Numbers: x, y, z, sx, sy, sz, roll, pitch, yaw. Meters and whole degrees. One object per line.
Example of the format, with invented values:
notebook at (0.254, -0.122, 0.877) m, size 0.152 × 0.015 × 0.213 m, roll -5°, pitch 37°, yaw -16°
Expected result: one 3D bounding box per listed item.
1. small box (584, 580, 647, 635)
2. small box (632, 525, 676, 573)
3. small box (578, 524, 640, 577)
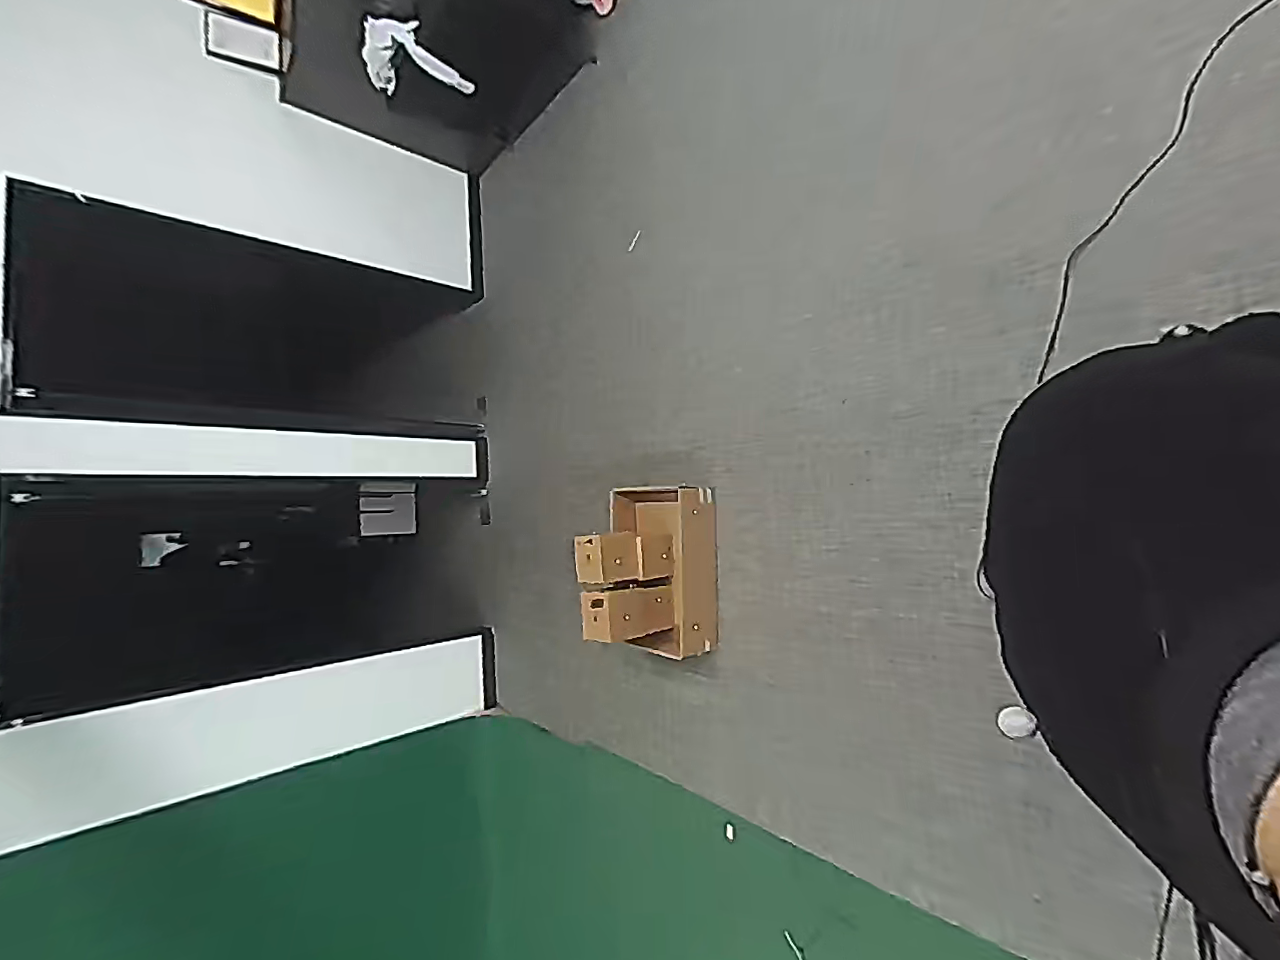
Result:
small box at (-0.088, 0.467, 2.009) m, size 0.168 × 0.176 × 0.179 m, roll -9°, pitch 83°, yaw 47°
small box at (0.021, 0.269, 2.134) m, size 0.179 × 0.176 × 0.168 m, roll -3°, pitch 90°, yaw 48°
small box at (-0.114, 0.264, 2.039) m, size 0.168 × 0.176 × 0.179 m, roll -10°, pitch 85°, yaw 48°
